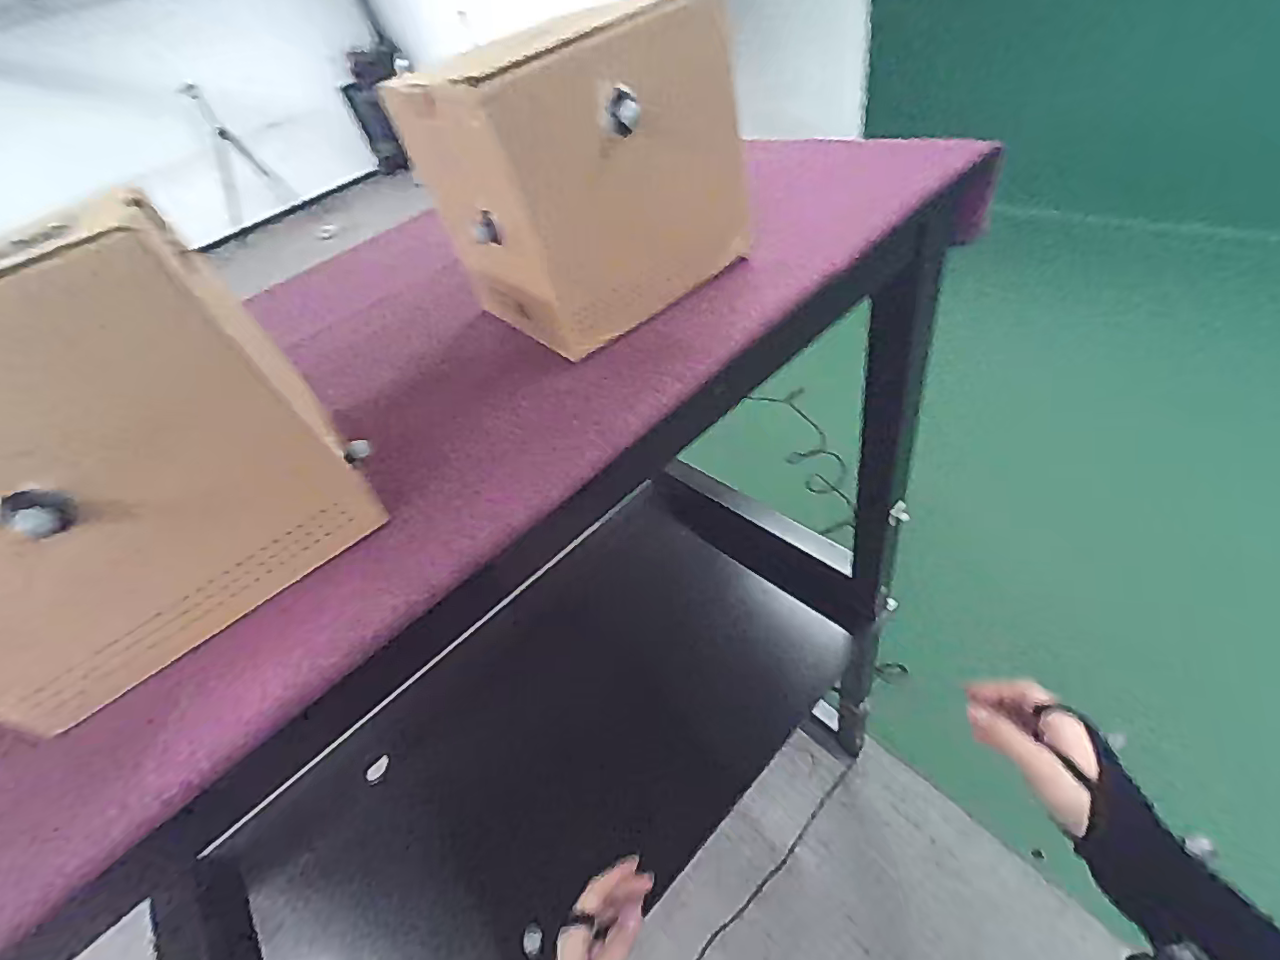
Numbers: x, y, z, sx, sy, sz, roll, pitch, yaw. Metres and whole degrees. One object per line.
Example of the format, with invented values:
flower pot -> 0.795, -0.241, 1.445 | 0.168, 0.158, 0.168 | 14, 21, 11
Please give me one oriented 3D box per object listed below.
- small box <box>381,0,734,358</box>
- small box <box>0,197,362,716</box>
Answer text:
small box -> -0.050, -0.217, 0.403 | 0.179, 0.176, 0.168 | -36, 45, -16
small box -> -0.277, -0.019, 0.284 | 0.179, 0.176, 0.168 | -37, 45, -17
